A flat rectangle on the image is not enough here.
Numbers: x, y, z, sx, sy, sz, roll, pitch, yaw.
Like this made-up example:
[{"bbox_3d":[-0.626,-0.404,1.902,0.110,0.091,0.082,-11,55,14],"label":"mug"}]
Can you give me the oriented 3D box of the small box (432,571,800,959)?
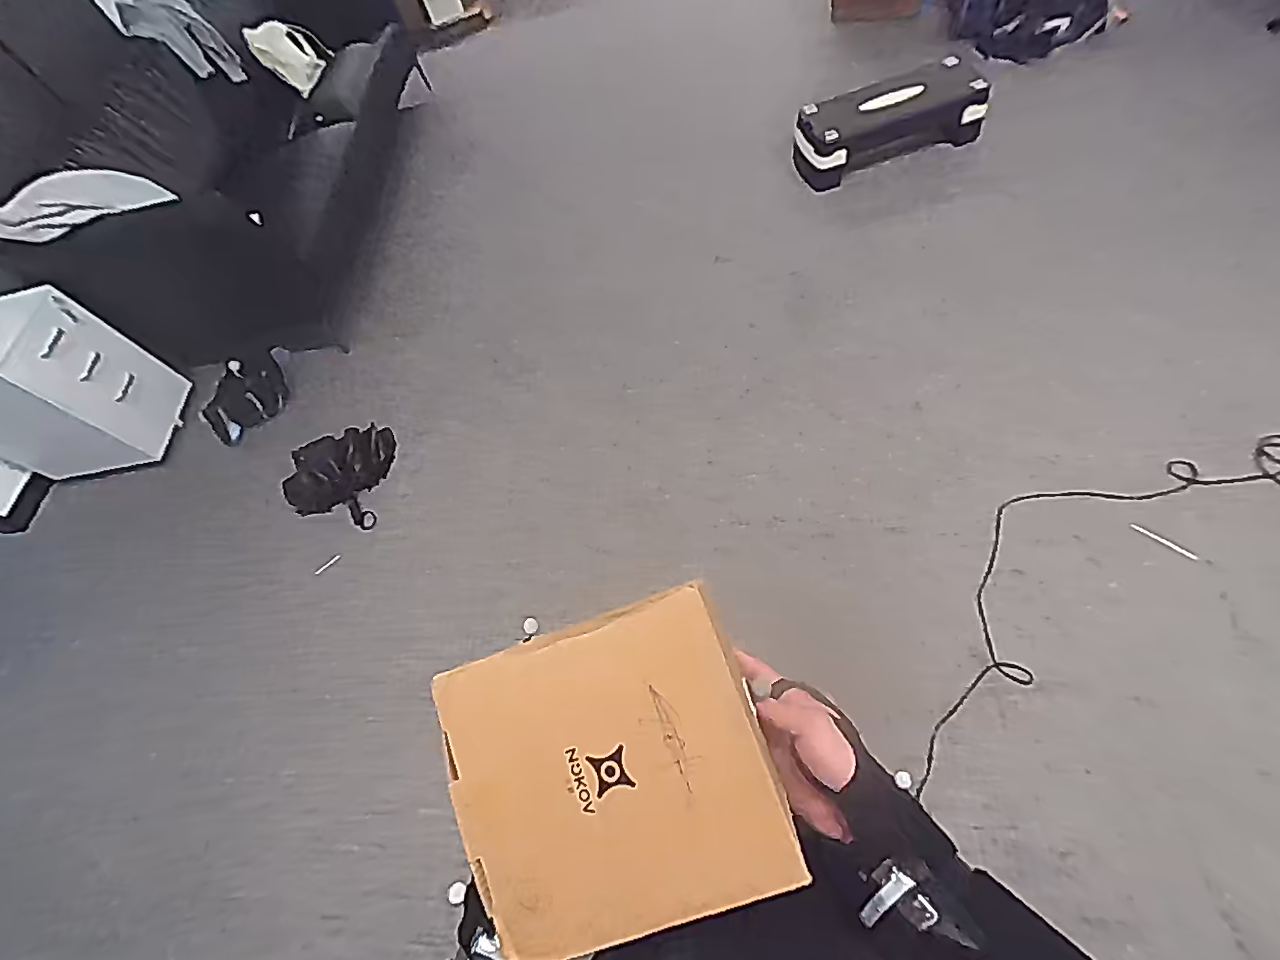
[{"bbox_3d":[-0.009,0.172,0.385,0.179,0.176,0.168,-22,79,4],"label":"small box"}]
